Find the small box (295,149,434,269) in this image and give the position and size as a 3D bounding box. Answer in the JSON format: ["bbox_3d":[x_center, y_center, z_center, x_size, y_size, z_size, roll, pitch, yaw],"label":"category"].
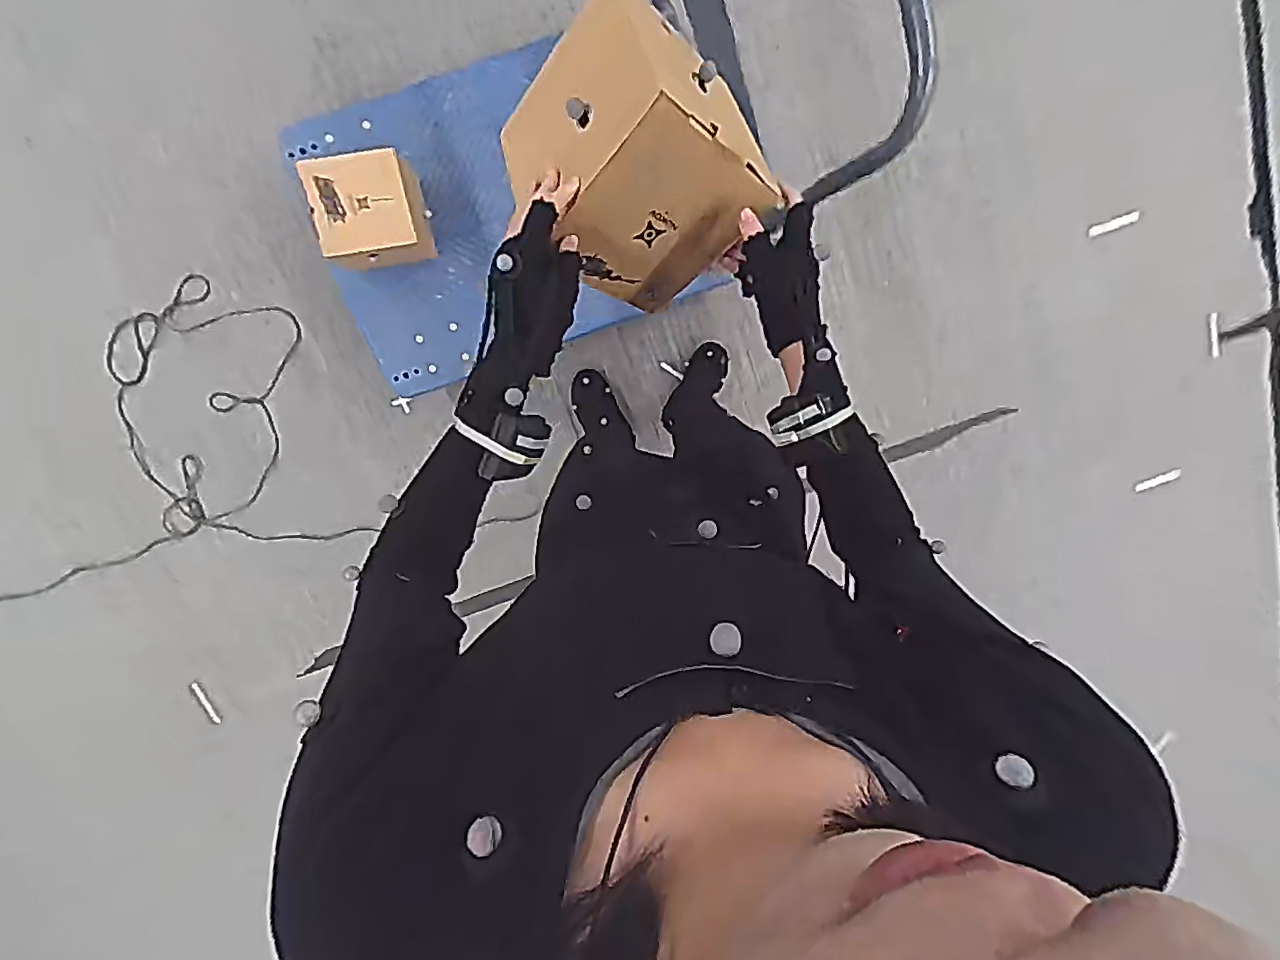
[{"bbox_3d":[-0.531,-0.525,1.068,0.179,0.176,0.168,-11,104,-5],"label":"small box"}]

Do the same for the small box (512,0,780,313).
[{"bbox_3d":[-0.004,-0.301,0.515,0.168,0.176,0.179,9,147,-45],"label":"small box"}]
